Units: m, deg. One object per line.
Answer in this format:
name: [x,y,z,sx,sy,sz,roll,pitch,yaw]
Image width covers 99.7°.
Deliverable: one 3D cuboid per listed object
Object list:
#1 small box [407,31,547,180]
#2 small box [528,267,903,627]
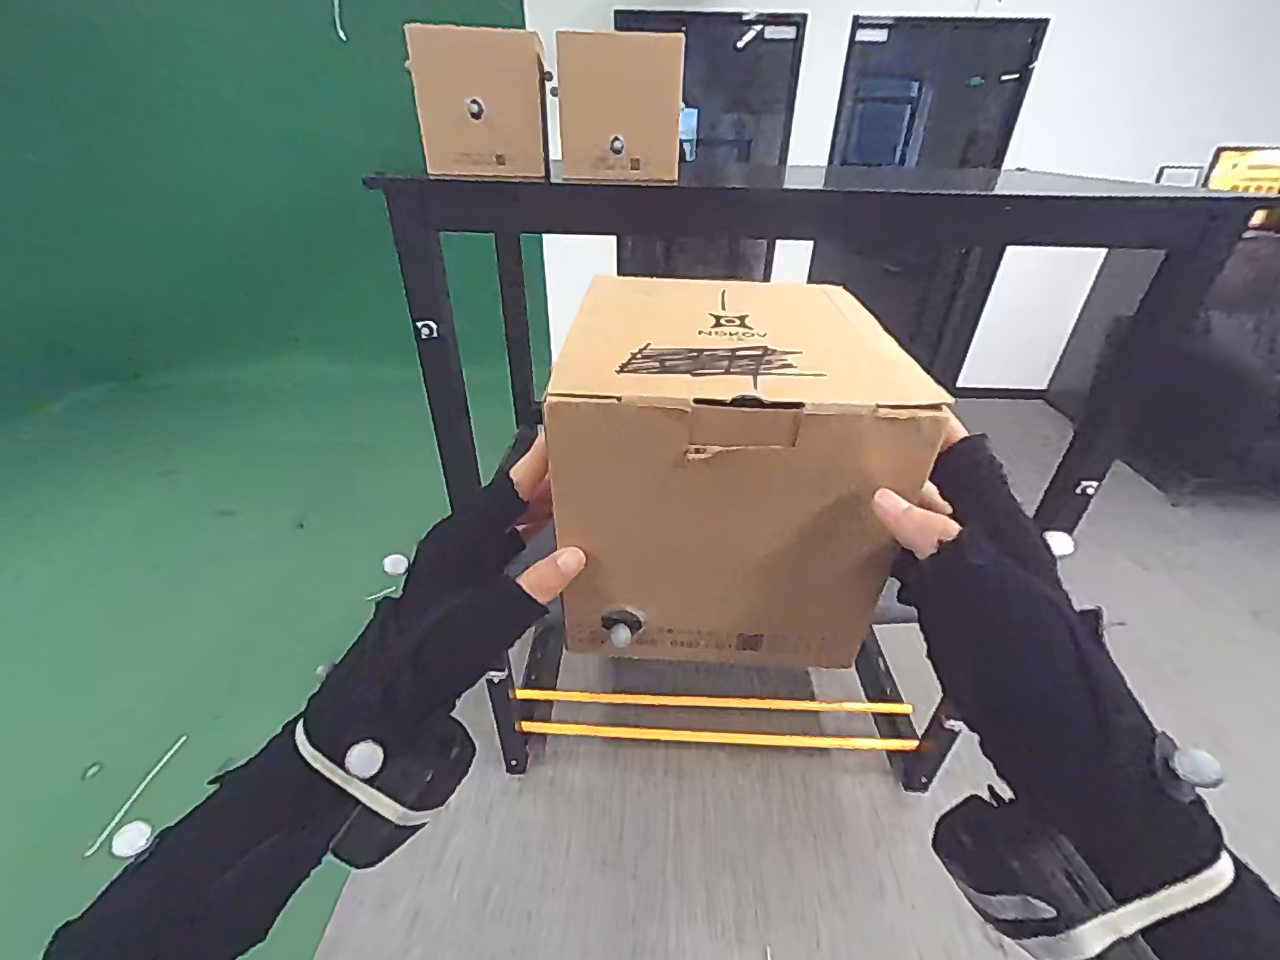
small box: [-0.230,-0.556,0.818,0.168,0.176,0.179,-1,32,-5]
small box: [0.036,-0.027,0.344,0.168,0.176,0.179,3,34,2]
